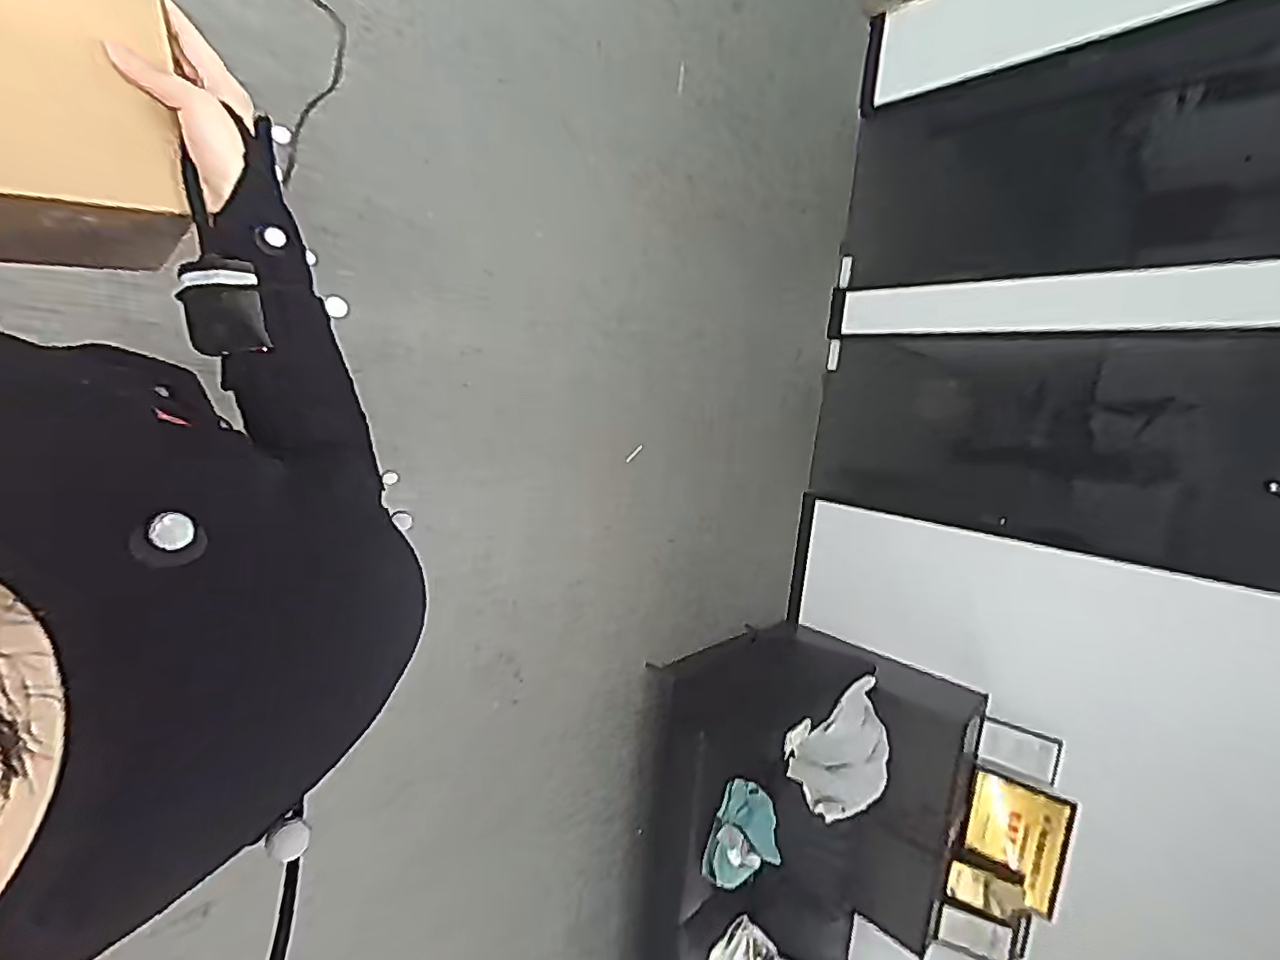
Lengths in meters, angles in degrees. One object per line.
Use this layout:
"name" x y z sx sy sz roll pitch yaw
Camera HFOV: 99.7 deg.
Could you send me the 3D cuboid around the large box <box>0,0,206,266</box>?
"large box" -0.579 -0.331 0.336 0.408 0.320 0.320 -15 109 -45
